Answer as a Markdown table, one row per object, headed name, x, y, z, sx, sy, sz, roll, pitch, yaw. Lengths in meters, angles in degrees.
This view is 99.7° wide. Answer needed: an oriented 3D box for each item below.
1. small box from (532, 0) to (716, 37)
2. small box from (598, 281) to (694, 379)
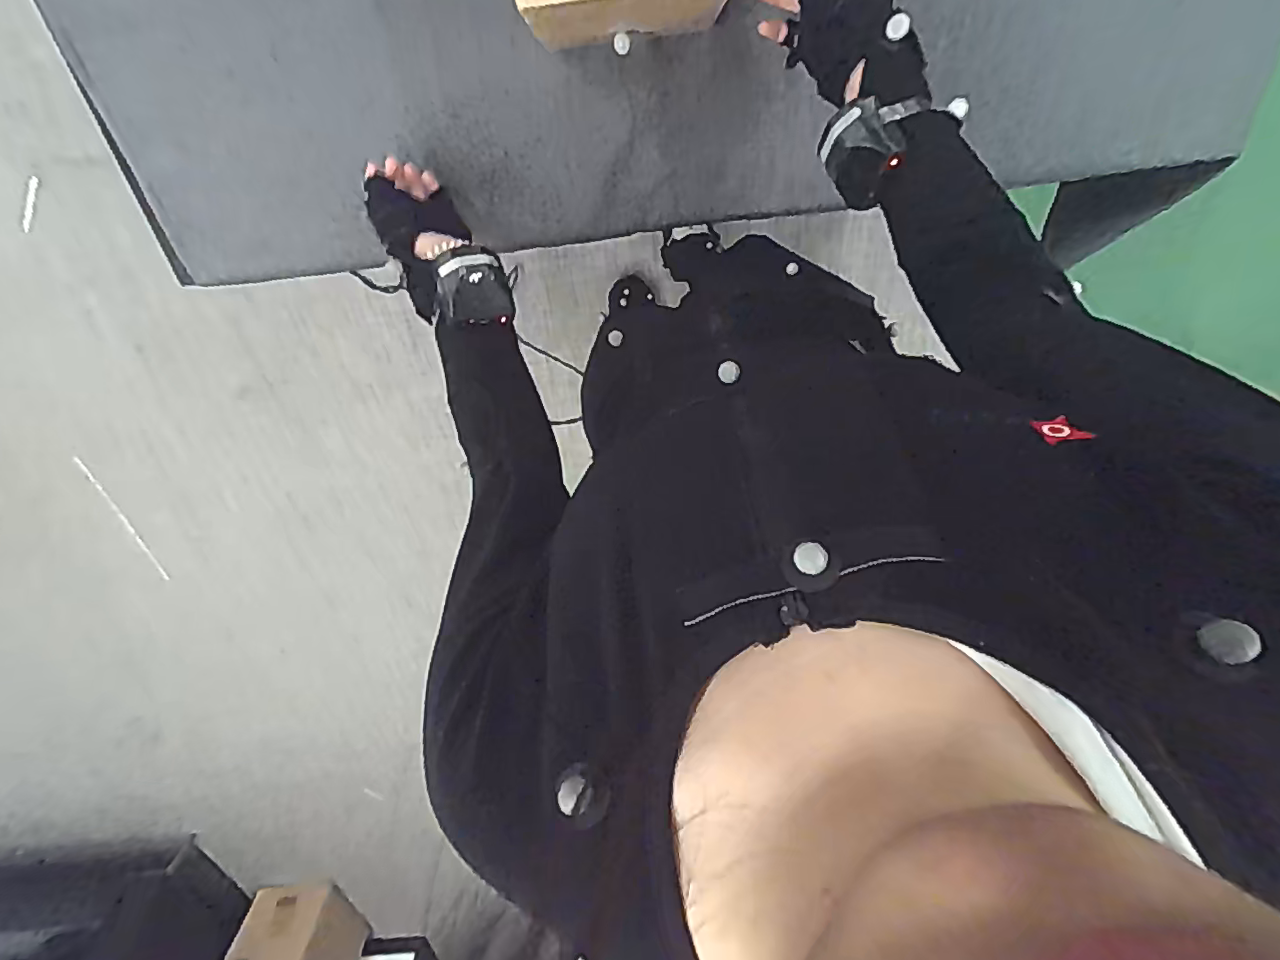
| name | x | y | z | sx | sy | sz | roll | pitch | yaw |
| --- | --- | --- | --- | --- | --- | --- | --- | --- | --- |
| small box | -0.020 | -0.474 | 0.414 | 0.168 | 0.176 | 0.179 | -5 | 121 | 3 |
| small box | 0.011 | -0.371 | 1.328 | 0.179 | 0.176 | 0.168 | 24 | 125 | 11 |
